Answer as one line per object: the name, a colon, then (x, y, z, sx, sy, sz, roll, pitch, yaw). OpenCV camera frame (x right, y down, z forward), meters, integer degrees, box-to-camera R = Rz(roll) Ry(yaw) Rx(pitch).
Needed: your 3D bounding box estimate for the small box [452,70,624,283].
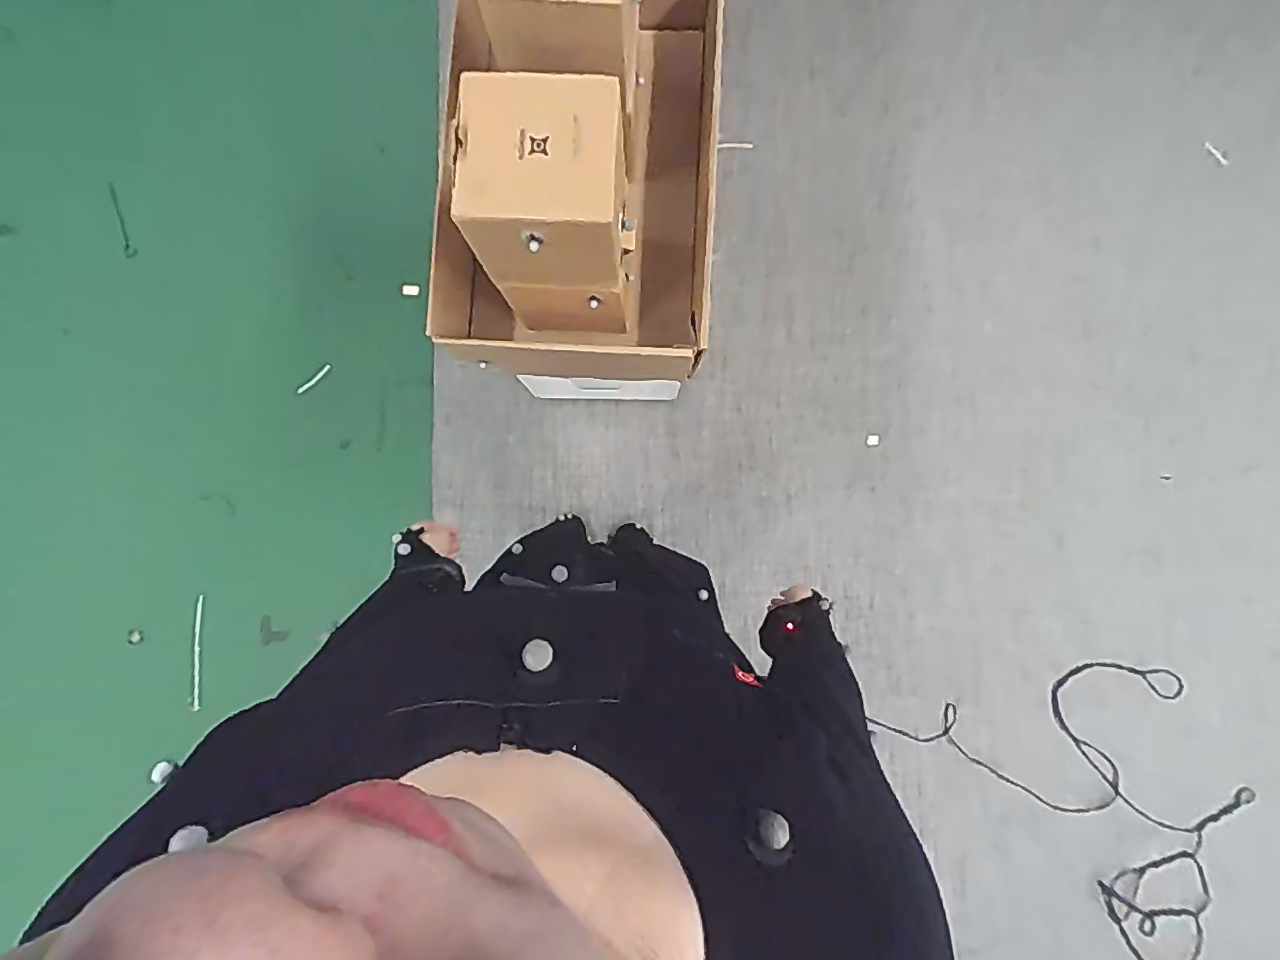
small box: (-0.112, -0.357, 0.665, 0.179, 0.176, 0.168, 2, 87, -1)

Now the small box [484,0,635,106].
small box: (-0.093, -0.611, 0.676, 0.168, 0.176, 0.179, 5, 89, 0)
